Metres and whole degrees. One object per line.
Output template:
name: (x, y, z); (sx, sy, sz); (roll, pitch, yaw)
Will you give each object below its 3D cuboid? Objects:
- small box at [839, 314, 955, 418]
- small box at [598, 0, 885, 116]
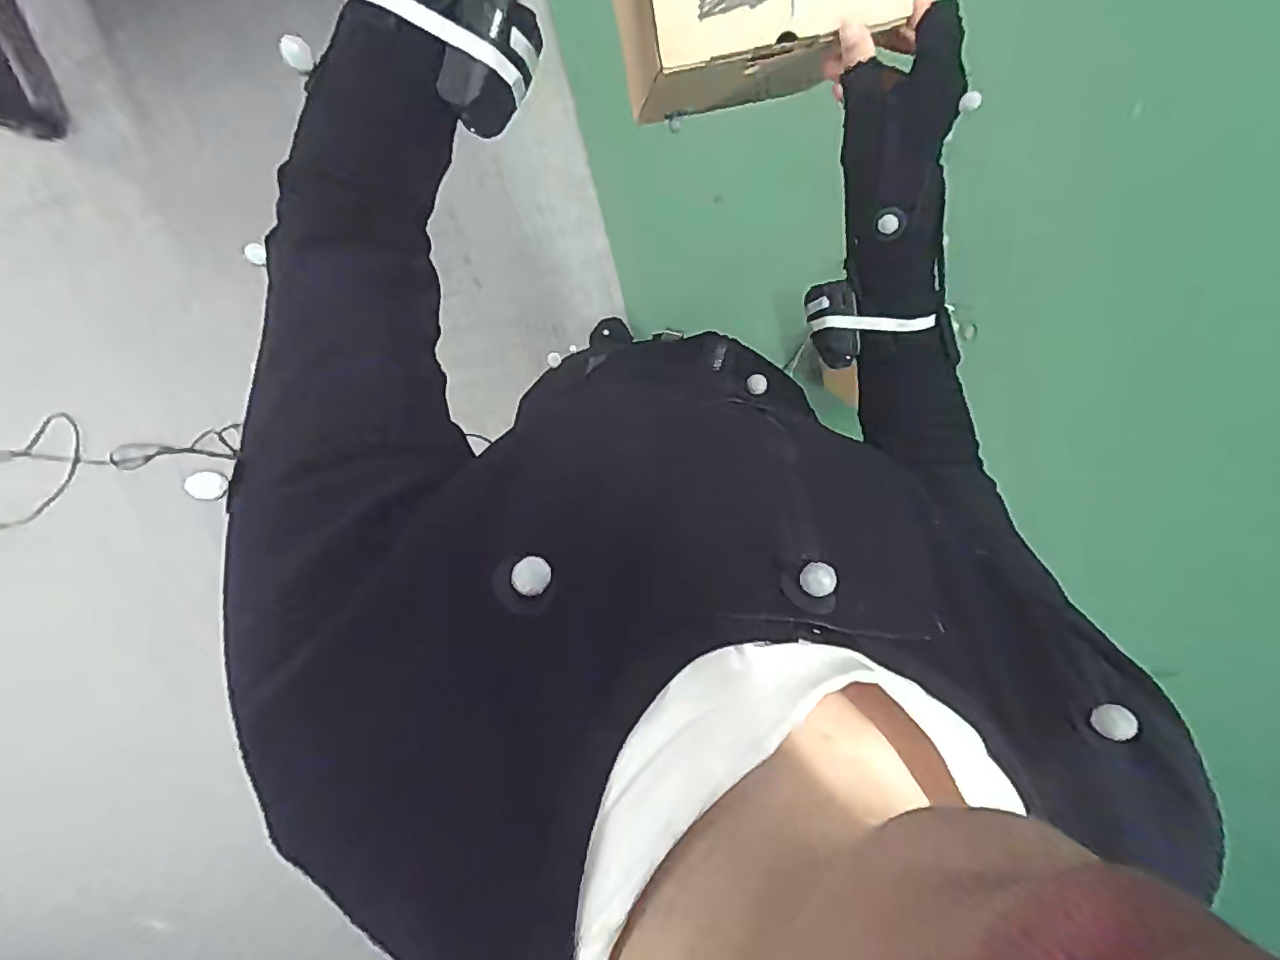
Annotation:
small box: (0.543, -0.247, 1.162); (0.168, 0.176, 0.179); (-14, 106, 5)
small box: (0.054, -0.385, 0.386); (0.168, 0.176, 0.179); (-13, 113, -1)
